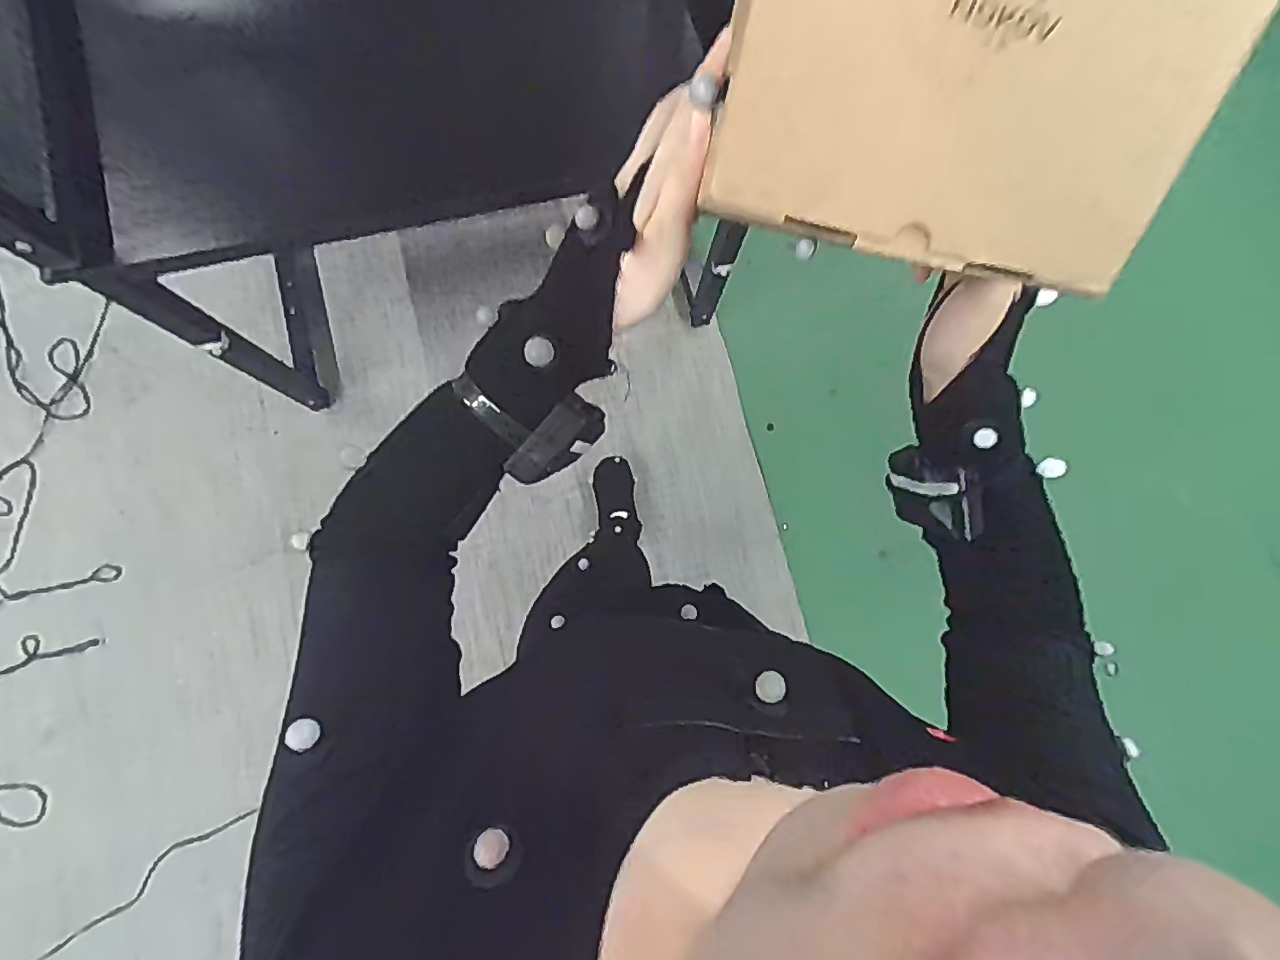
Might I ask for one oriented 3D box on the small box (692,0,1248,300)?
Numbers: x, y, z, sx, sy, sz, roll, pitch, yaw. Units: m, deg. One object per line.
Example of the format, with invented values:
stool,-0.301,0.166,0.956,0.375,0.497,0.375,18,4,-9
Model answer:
small box,0.122,-0.204,0.251,0.168,0.176,0.179,12,119,-3
